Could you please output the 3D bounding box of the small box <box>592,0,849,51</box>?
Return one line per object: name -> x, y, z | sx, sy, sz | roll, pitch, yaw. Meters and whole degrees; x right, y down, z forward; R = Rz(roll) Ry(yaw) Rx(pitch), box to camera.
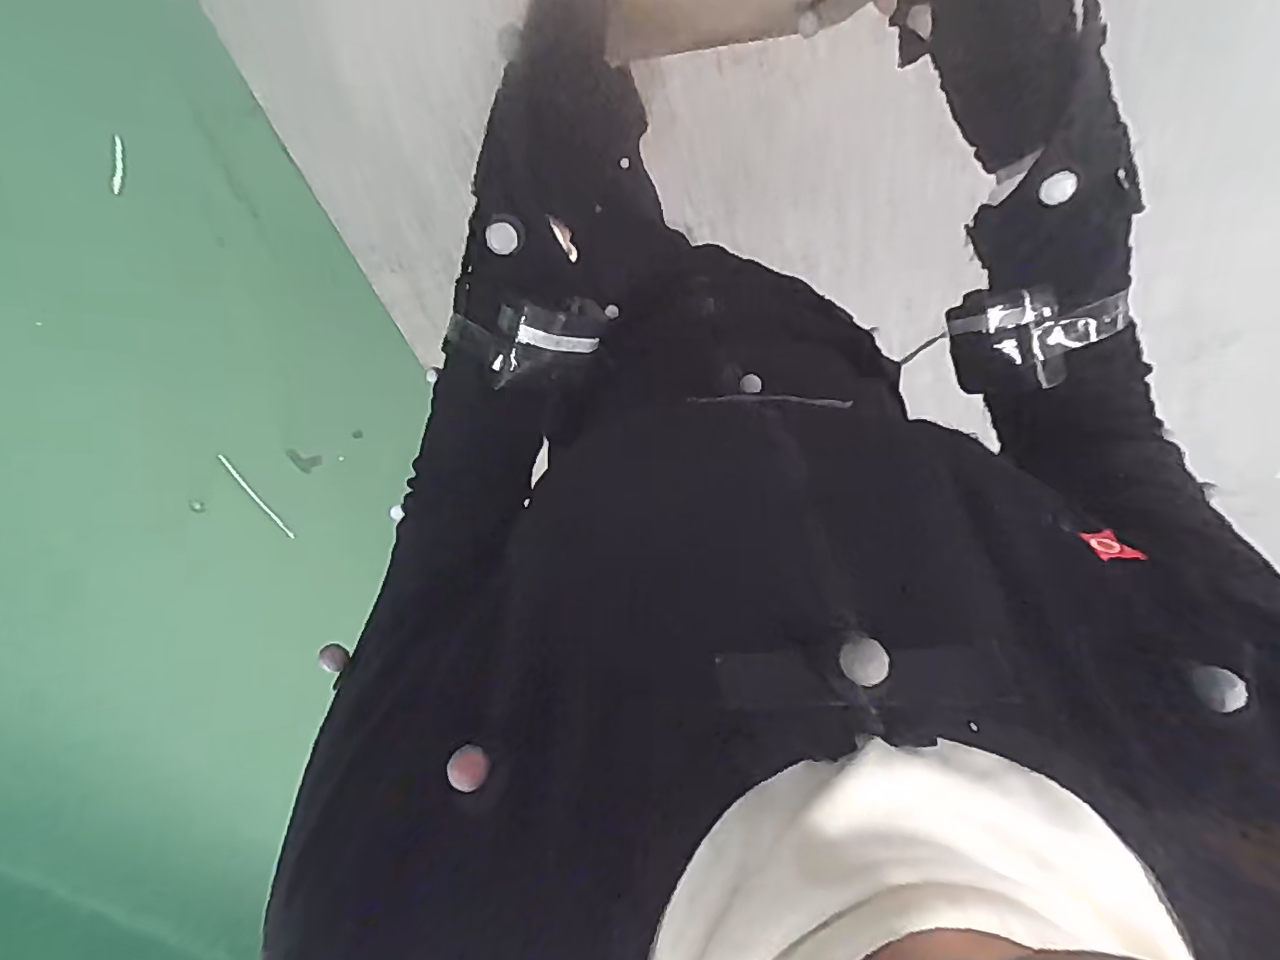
small box -> 0.045, -0.343, 0.269 | 0.168, 0.176, 0.179 | -8, 117, 2
